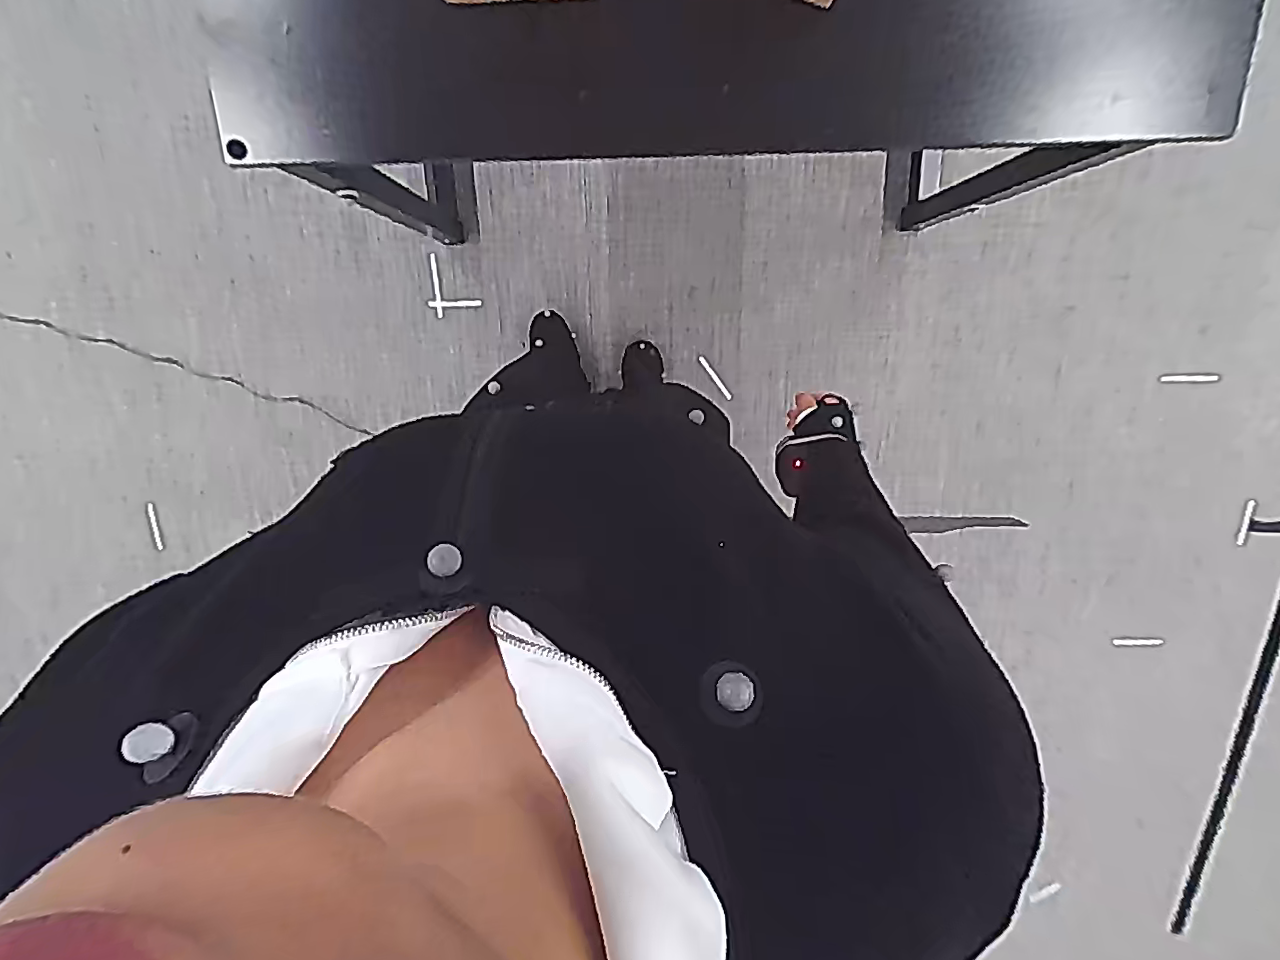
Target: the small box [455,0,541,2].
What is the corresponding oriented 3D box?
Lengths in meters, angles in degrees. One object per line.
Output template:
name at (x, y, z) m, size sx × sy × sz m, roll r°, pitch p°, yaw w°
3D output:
small box at (-0.135, -0.602, 0.517) m, size 0.179 × 0.176 × 0.168 m, roll -3°, pitch 105°, yaw 0°
